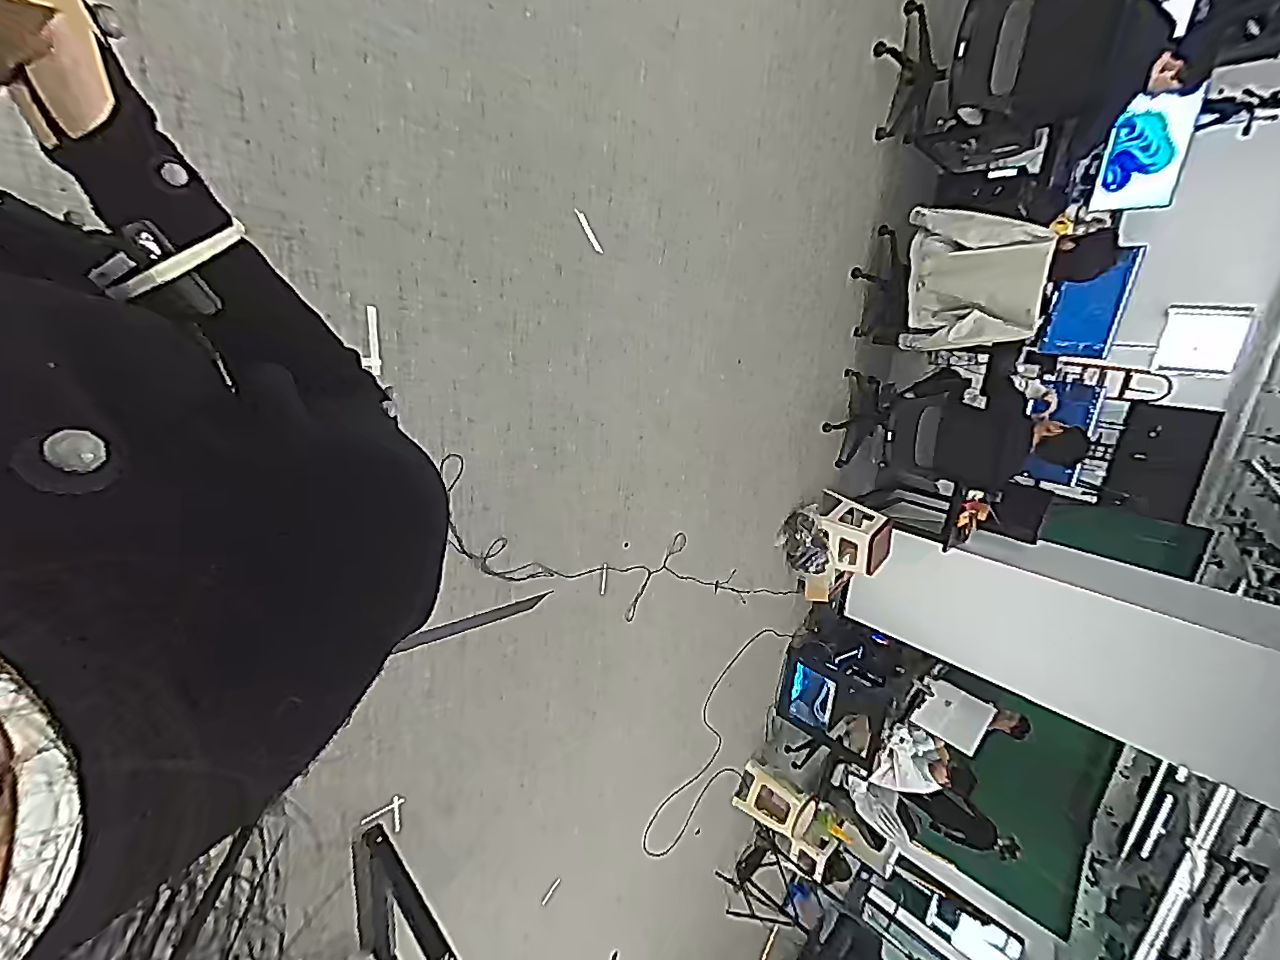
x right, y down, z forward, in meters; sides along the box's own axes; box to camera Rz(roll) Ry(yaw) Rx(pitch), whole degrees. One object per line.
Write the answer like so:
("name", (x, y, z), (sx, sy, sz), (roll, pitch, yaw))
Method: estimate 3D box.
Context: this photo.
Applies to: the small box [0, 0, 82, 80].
("small box", (-0.356, -0.258, 0.182), (0.179, 0.176, 0.168), (-29, 123, -49))
